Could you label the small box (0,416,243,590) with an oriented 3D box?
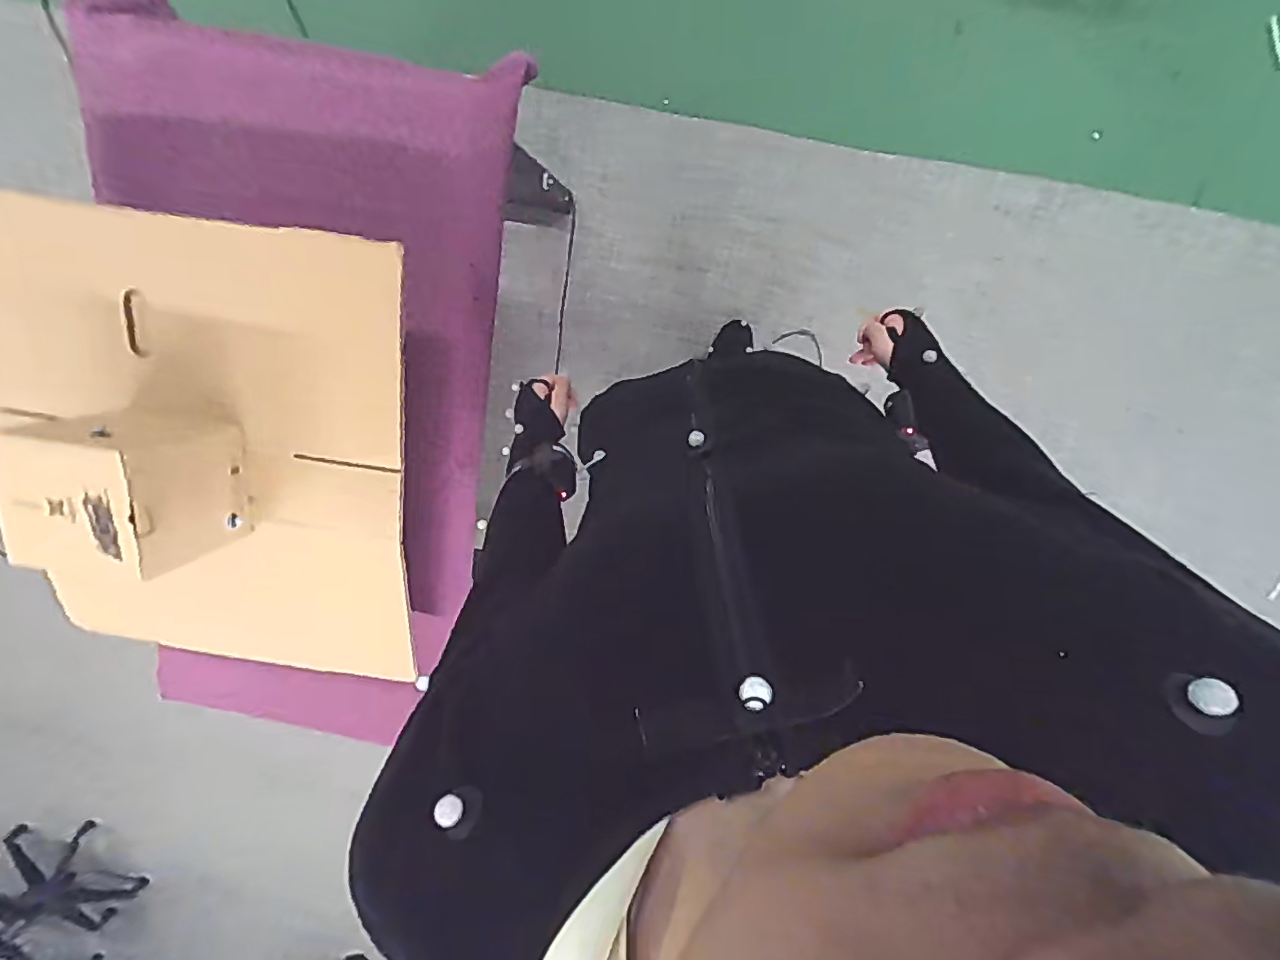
[{"bbox_3d":[-0.647,0.019,0.692,0.179,0.176,0.168,8,106,4],"label":"small box"}]
